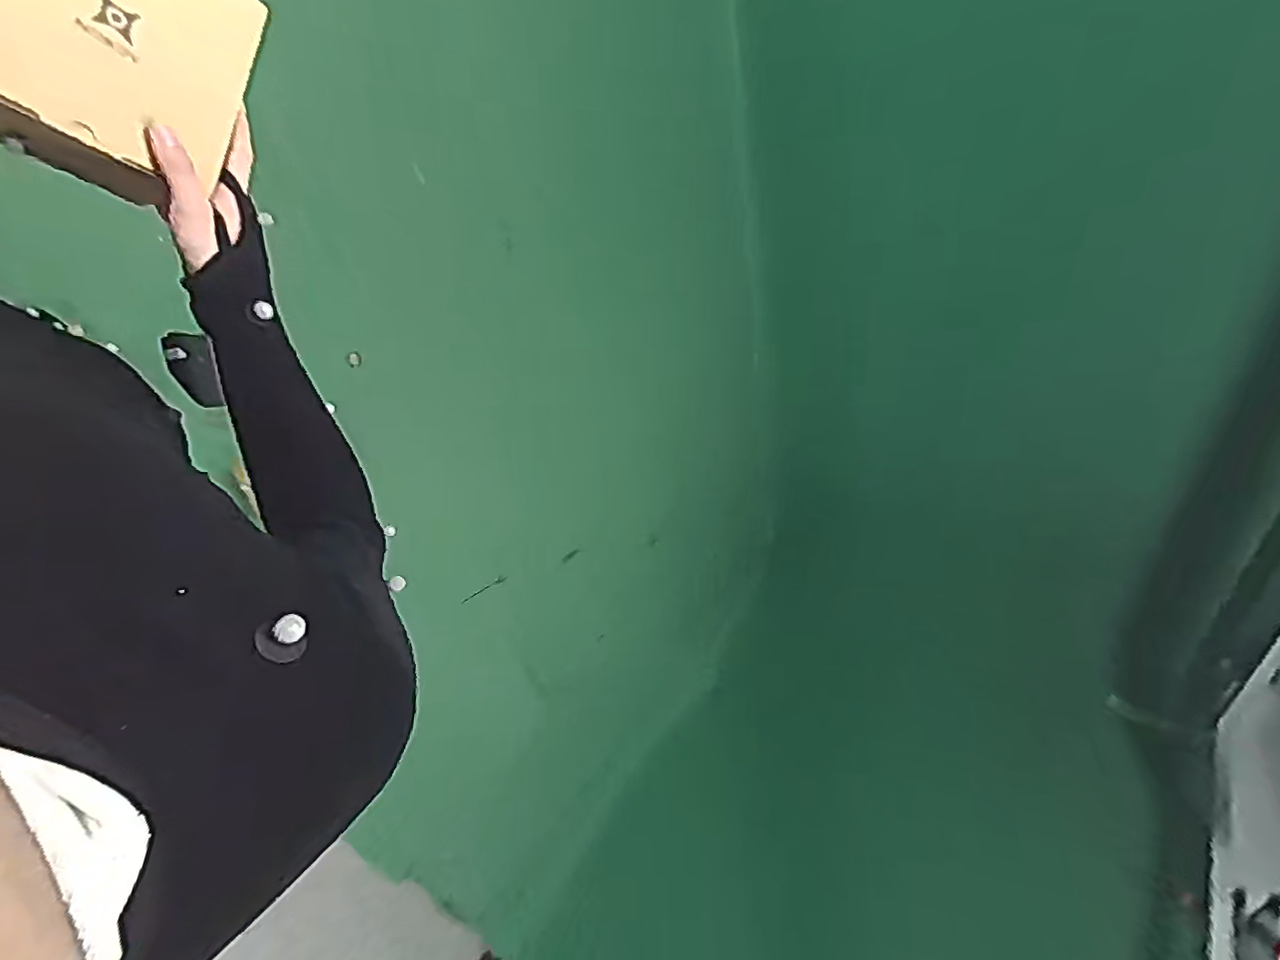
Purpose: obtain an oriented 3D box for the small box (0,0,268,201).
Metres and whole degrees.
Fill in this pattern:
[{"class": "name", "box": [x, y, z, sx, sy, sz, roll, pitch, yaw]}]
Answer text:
[{"class": "small box", "box": [-0.443, -0.352, 0.428, 0.168, 0.176, 0.179, 15, 92, -60]}]
